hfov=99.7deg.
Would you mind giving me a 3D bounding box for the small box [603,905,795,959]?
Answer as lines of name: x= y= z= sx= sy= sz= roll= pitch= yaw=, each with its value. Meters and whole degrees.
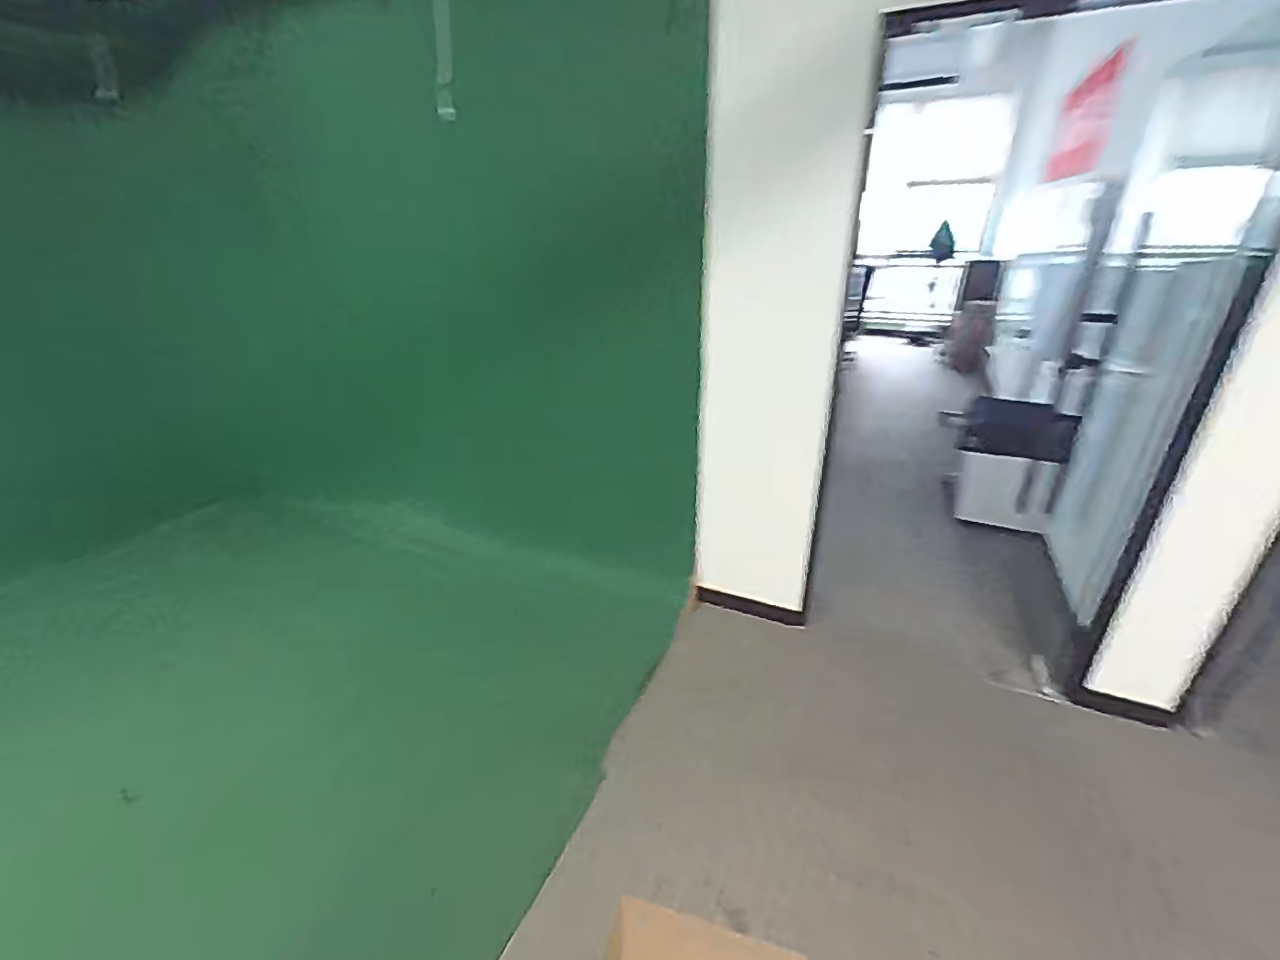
small box: x=0.039 y=0.462 z=0.392 sx=0.179 sy=0.168 sz=0.176 roll=18 pitch=-7 yaw=1
